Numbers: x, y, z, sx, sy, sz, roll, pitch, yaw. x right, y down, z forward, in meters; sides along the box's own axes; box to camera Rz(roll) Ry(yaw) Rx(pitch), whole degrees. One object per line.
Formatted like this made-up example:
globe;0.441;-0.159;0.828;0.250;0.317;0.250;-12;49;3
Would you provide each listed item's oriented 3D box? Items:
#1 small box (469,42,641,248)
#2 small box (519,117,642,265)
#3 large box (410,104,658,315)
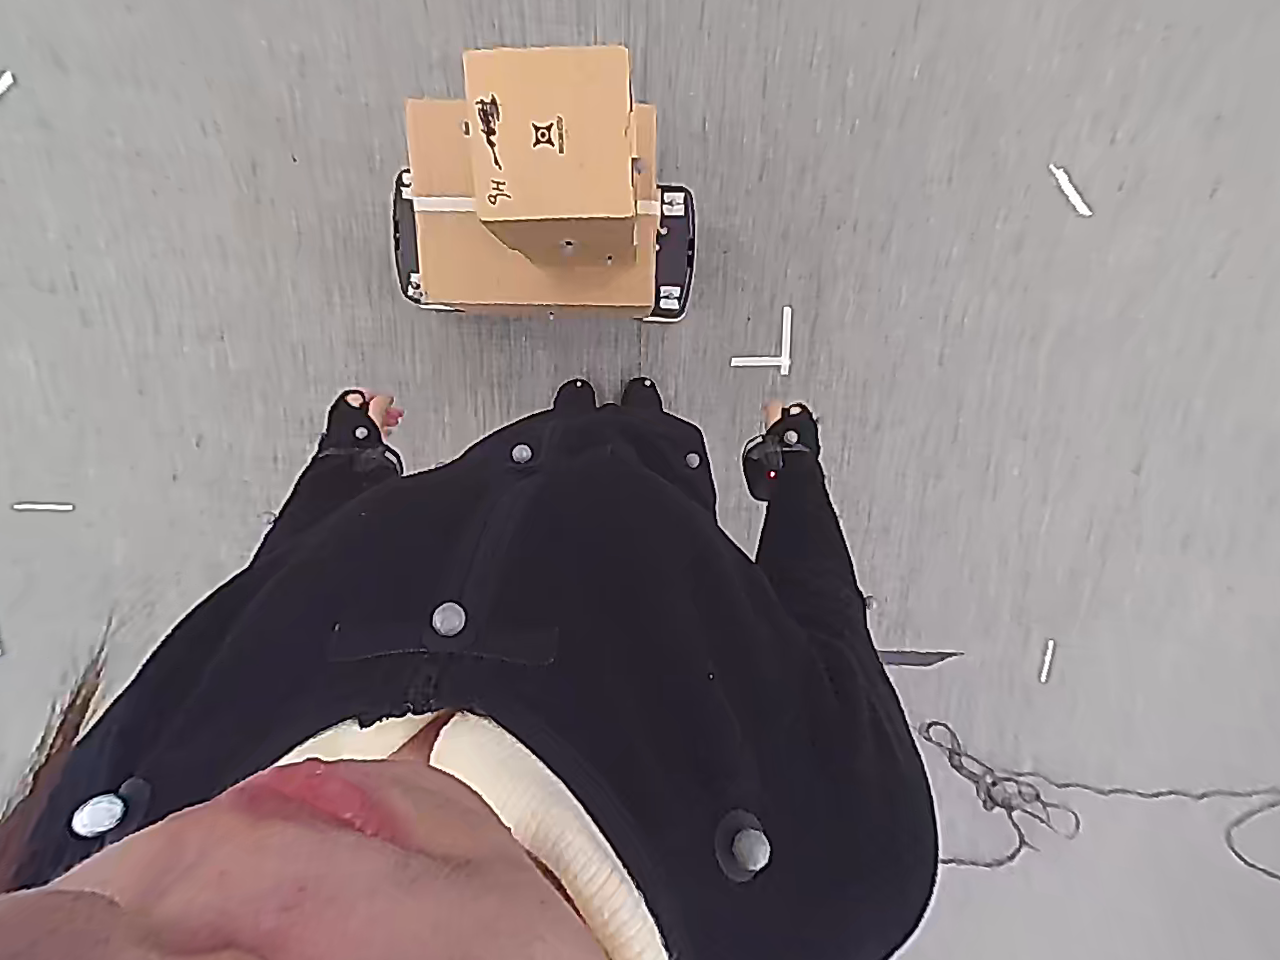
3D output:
small box;-0.090;-0.382;0.646;0.179;0.176;0.168;-1;102;-2
small box;-0.087;-0.422;0.806;0.179;0.176;0.168;0;103;0
large box;-0.169;-0.485;1.041;0.408;0.320;0.320;1;102;0
